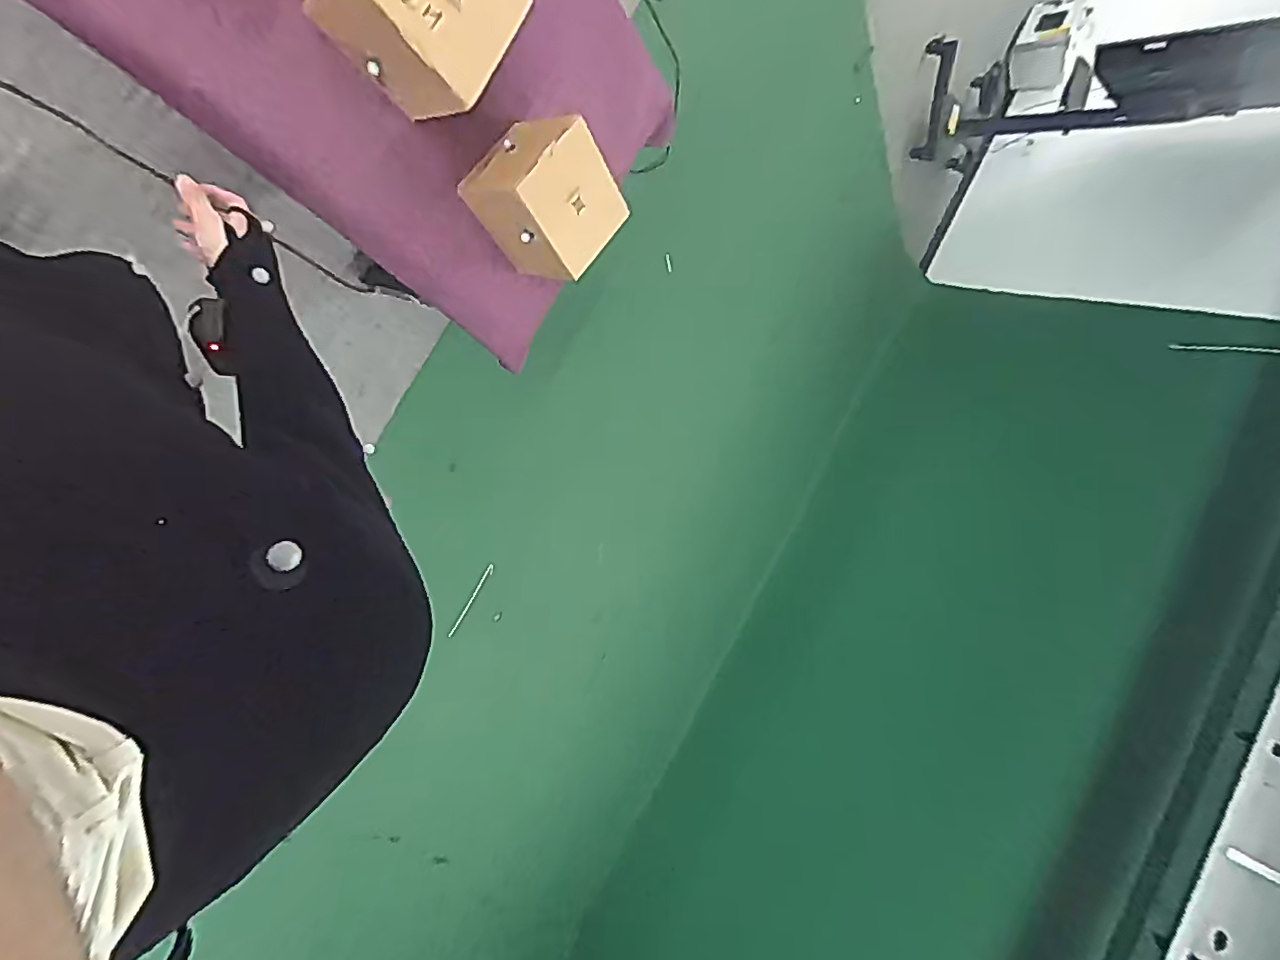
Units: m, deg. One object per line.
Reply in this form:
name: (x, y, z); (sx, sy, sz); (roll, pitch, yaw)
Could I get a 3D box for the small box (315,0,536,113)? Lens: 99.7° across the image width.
small box: (-0.272, -0.606, 0.682); (0.168, 0.176, 0.179); (33, 84, -51)

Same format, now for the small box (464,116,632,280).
small box: (-0.152, -0.467, 0.900); (0.168, 0.176, 0.179); (-55, 140, -12)
